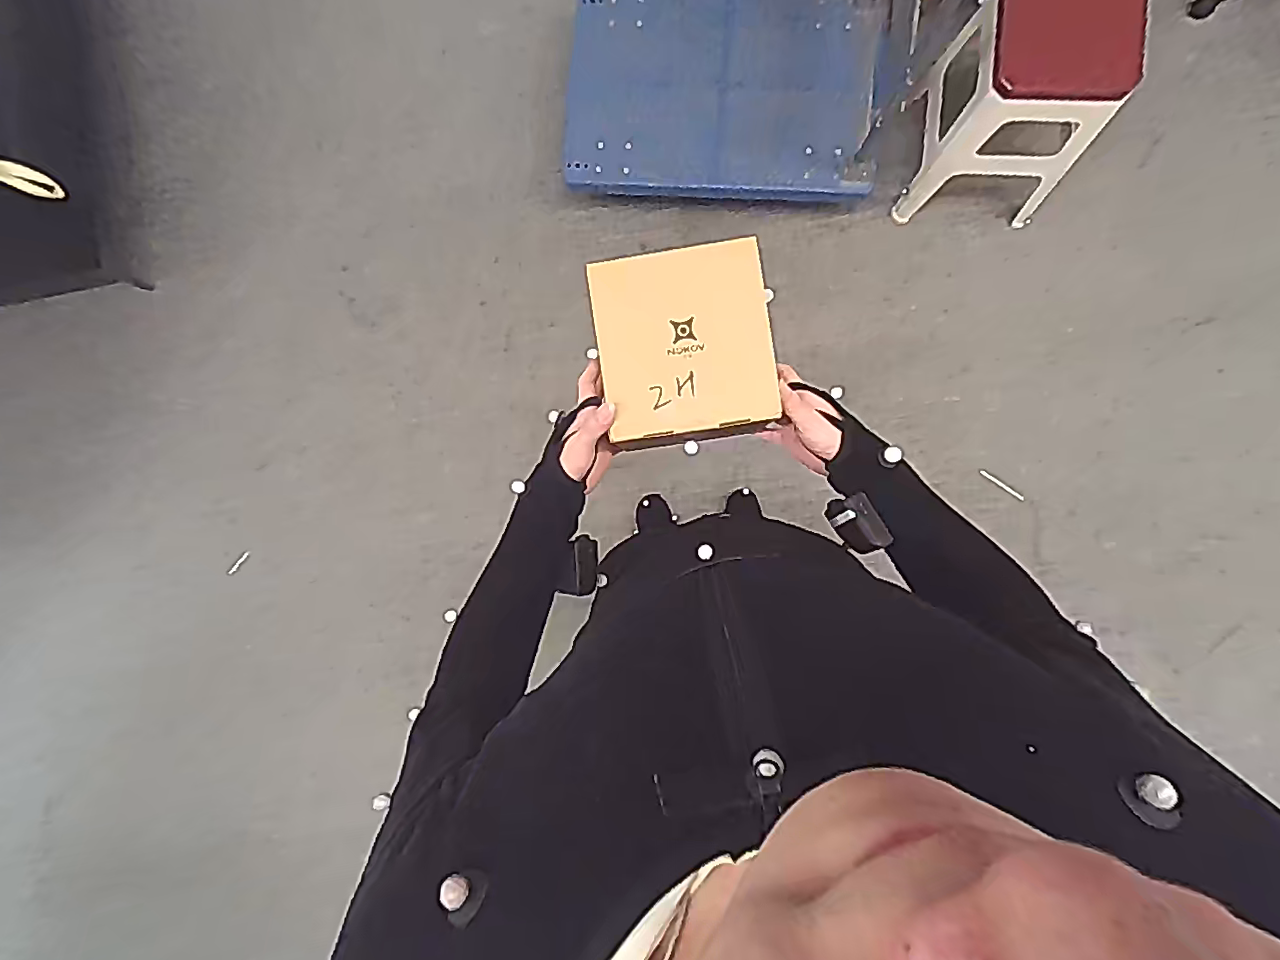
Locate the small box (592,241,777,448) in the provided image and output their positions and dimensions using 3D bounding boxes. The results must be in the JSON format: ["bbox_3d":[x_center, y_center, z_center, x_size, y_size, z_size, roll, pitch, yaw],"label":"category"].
[{"bbox_3d":[0.045,-0.135,0.603,0.168,0.176,0.179,-7,90,3],"label":"small box"}]
